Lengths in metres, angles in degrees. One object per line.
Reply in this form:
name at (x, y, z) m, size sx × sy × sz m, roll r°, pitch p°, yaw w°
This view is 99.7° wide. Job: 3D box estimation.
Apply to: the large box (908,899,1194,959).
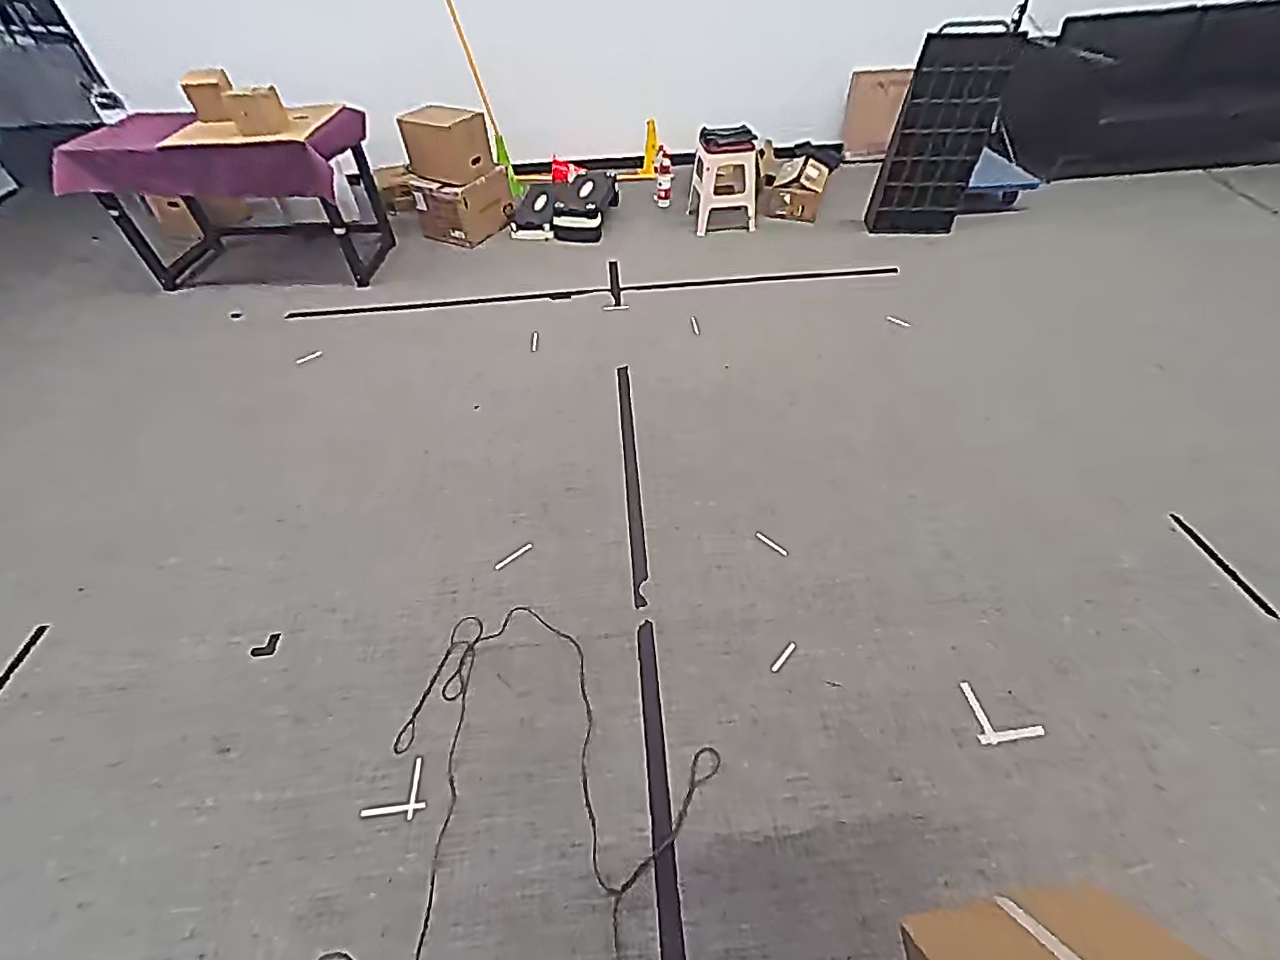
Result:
large box at (0.561, 0.749, 0.576) m, size 0.320 × 0.408 × 0.320 m, roll -7°, pitch 81°, yaw -3°
